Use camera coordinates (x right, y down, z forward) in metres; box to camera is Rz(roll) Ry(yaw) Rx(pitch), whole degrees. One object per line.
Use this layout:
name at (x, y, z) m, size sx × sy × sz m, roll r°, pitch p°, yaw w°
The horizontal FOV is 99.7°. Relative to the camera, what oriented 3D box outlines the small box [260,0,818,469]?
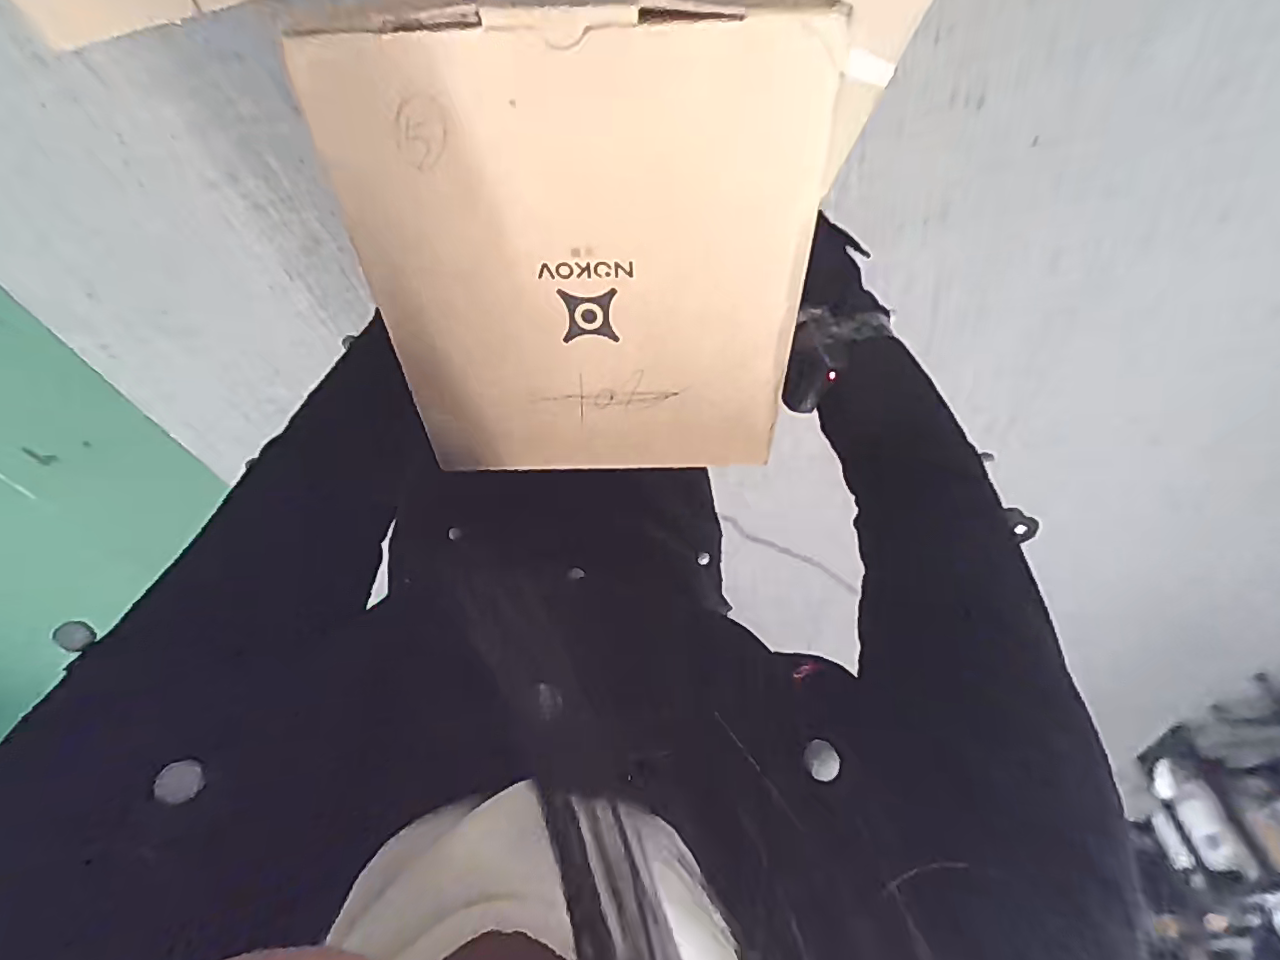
small box at (-0.027, -0.125, 0.268) m, size 0.168 × 0.176 × 0.179 m, roll -1°, pitch 135°, yaw 3°
